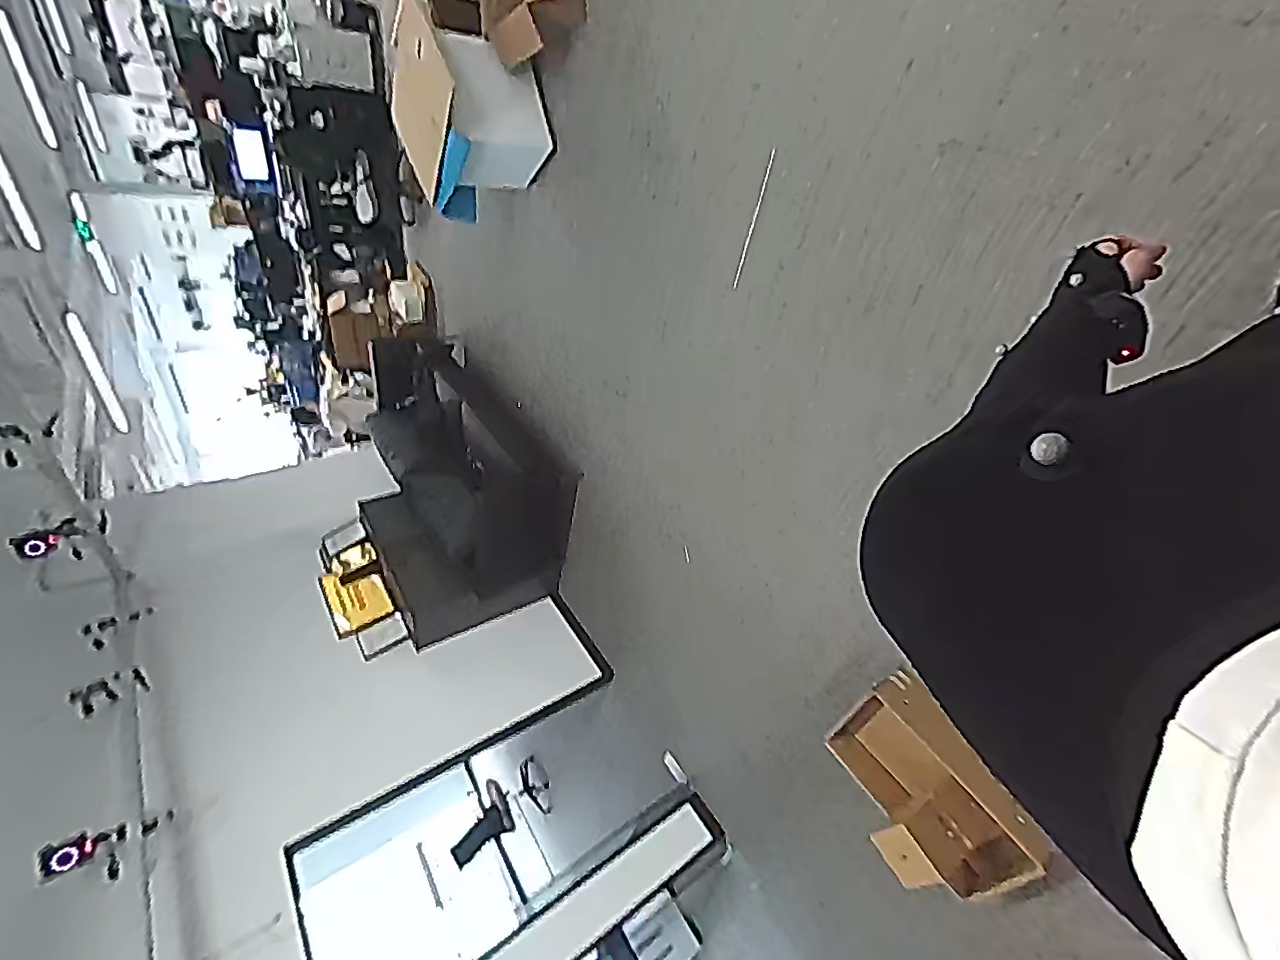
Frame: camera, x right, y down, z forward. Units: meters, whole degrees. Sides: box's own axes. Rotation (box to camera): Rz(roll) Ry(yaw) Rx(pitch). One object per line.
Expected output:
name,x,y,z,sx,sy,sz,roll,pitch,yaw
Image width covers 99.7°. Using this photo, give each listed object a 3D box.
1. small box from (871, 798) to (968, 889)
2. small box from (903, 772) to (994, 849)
small box,0.876,1.136,1.691,0.168,0.176,0.179,56,142,29
small box,1.012,1.100,1.775,0.168,0.176,0.179,54,141,32
